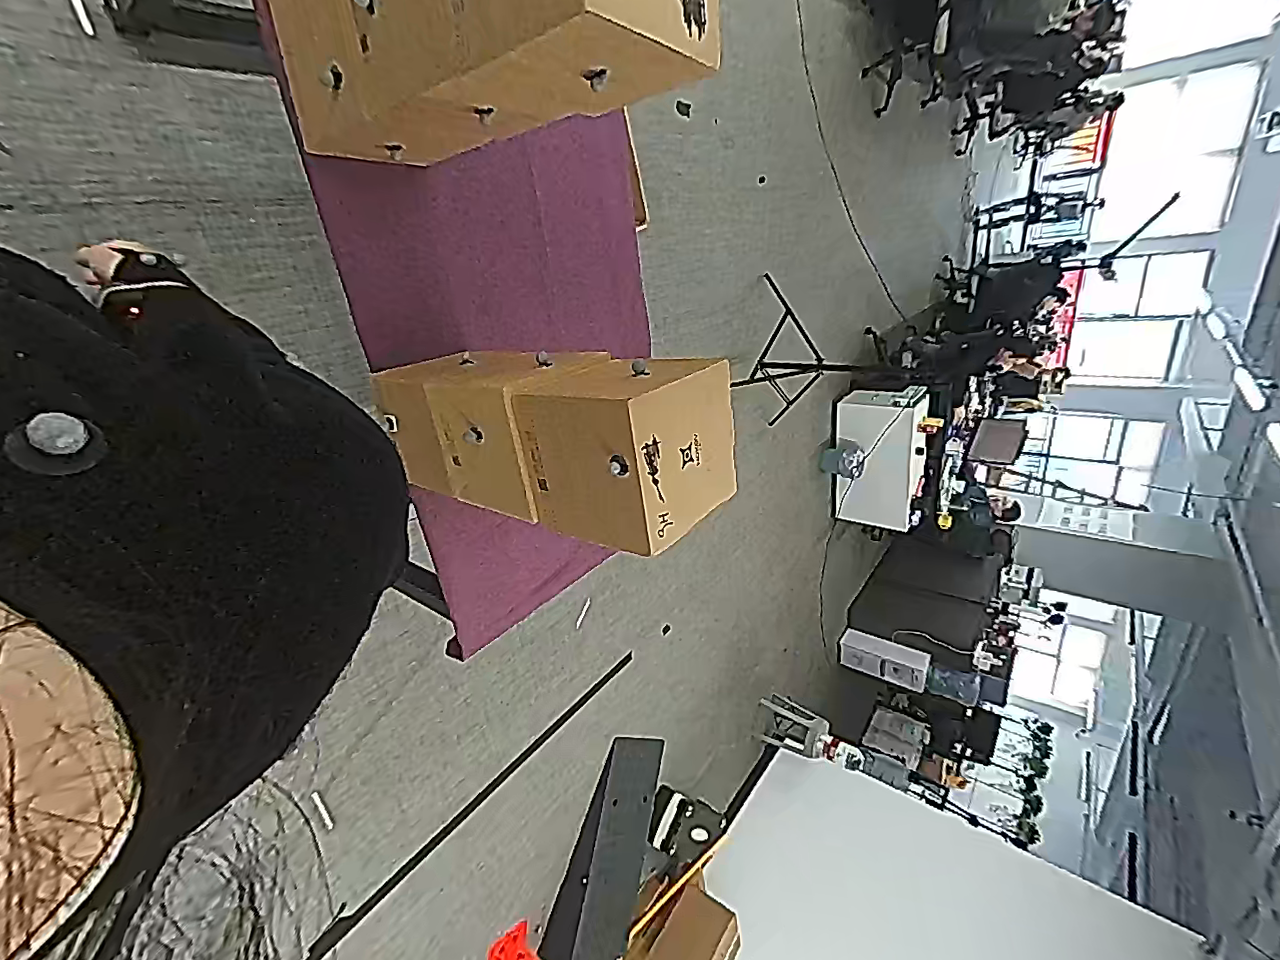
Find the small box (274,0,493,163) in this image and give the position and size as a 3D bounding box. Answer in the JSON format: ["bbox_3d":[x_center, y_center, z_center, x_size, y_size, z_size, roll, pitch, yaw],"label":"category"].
[{"bbox_3d":[-0.304,-0.498,0.651,0.168,0.176,0.179,-26,119,-46],"label":"small box"}]

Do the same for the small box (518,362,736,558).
[{"bbox_3d":[-0.008,-0.038,0.616,0.179,0.176,0.168,-32,122,-45],"label":"small box"}]

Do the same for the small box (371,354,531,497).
[{"bbox_3d":[-0.265,-0.093,0.811,0.179,0.176,0.168,-30,120,-42],"label":"small box"}]

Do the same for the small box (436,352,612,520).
[{"bbox_3d":[-0.142,-0.067,0.708,0.179,0.176,0.168,-32,122,-44],"label":"small box"}]

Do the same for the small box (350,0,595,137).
[{"bbox_3d":[-0.172,-0.471,0.557,0.179,0.176,0.168,-26,119,-44],"label":"small box"}]
